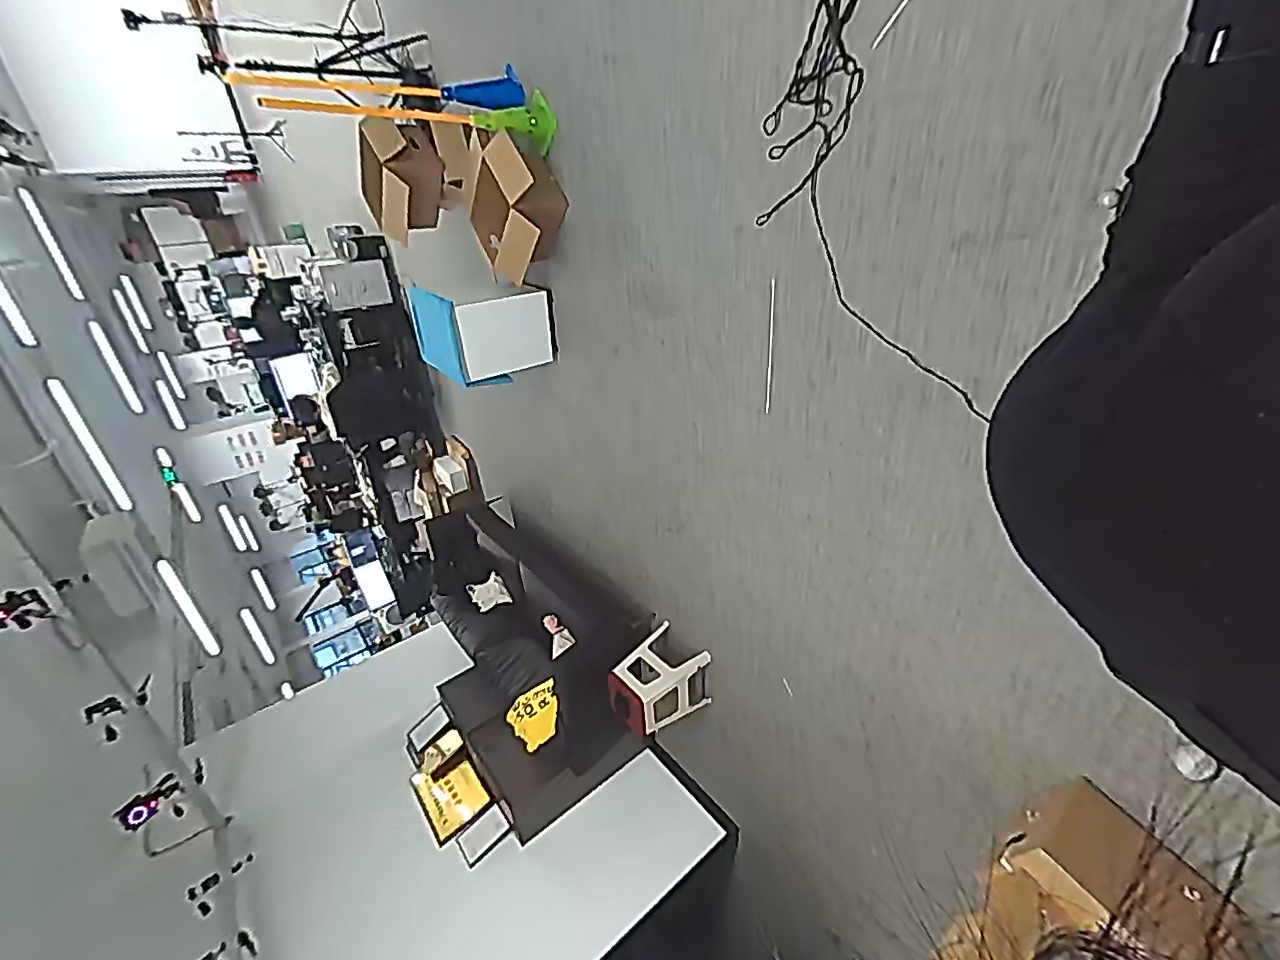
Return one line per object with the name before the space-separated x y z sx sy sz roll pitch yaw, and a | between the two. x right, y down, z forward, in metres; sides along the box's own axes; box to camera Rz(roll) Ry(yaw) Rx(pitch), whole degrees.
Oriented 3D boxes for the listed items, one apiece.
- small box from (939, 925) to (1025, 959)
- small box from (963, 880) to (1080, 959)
small box | 0.866 1.250 1.341 0.179 0.176 0.168 46 144 29
small box | 0.998 1.200 1.420 0.168 0.176 0.179 45 143 31
